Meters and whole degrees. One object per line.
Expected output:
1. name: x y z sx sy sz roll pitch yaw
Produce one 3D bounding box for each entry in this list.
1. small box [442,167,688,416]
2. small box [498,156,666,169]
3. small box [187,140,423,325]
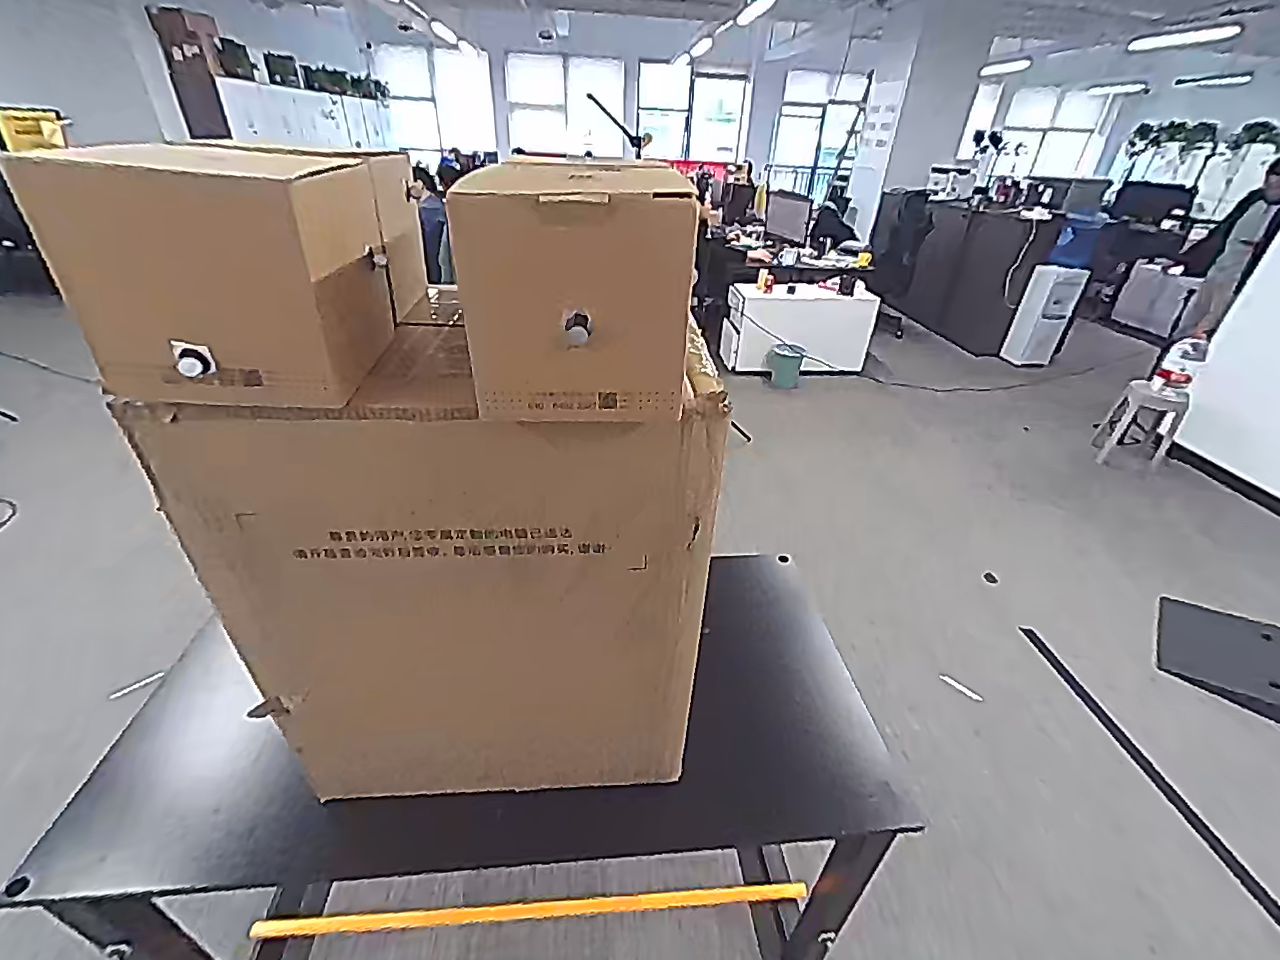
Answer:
1. small box: -0.052 -0.164 0.464 0.168 0.176 0.179 -1 34 -3
2. small box: -0.067 -0.275 0.630 0.168 0.176 0.179 -3 32 -7
3. small box: -0.361 -0.287 0.628 0.168 0.176 0.179 -1 31 -7
